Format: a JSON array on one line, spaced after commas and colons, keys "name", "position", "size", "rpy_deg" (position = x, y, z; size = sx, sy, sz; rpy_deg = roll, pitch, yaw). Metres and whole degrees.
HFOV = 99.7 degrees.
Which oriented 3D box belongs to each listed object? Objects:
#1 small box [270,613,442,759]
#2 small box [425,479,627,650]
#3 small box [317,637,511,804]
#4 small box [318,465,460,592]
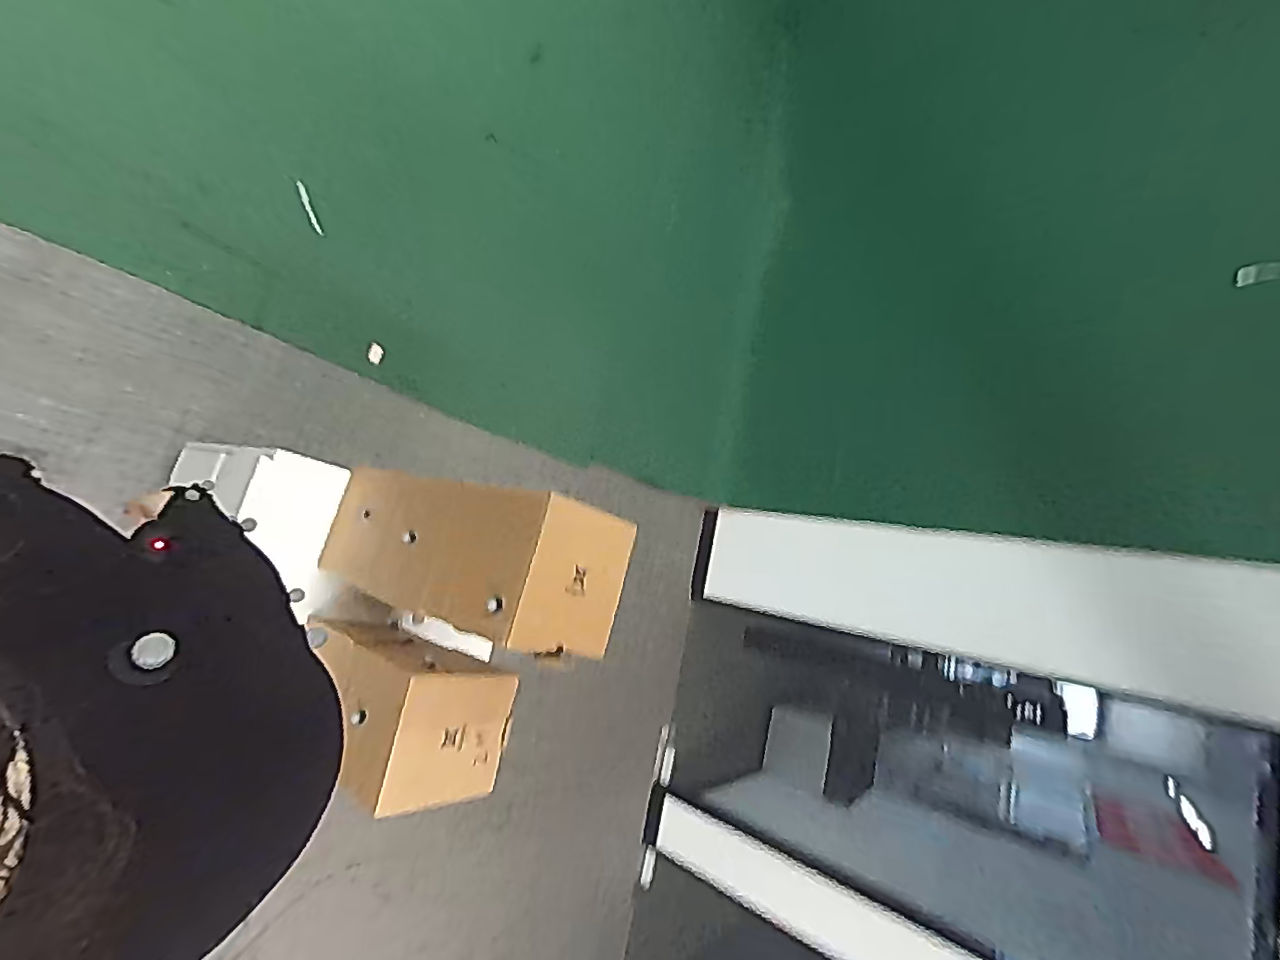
[{"name": "small box", "position": [-0.452, 0.320, 0.864], "size": [0.168, 0.176, 0.179], "rpy_deg": [28, 72, -49]}, {"name": "small box", "position": [-0.146, 0.105, 0.699], "size": [0.168, 0.176, 0.179], "rpy_deg": [28, 73, -50]}, {"name": "small box", "position": [-0.320, 0.325, 0.767], "size": [0.179, 0.176, 0.168], "rpy_deg": [25, 74, -50]}, {"name": "small box", "position": [-0.402, 0.081, 0.902], "size": [0.168, 0.176, 0.179], "rpy_deg": [28, 73, -49]}]
